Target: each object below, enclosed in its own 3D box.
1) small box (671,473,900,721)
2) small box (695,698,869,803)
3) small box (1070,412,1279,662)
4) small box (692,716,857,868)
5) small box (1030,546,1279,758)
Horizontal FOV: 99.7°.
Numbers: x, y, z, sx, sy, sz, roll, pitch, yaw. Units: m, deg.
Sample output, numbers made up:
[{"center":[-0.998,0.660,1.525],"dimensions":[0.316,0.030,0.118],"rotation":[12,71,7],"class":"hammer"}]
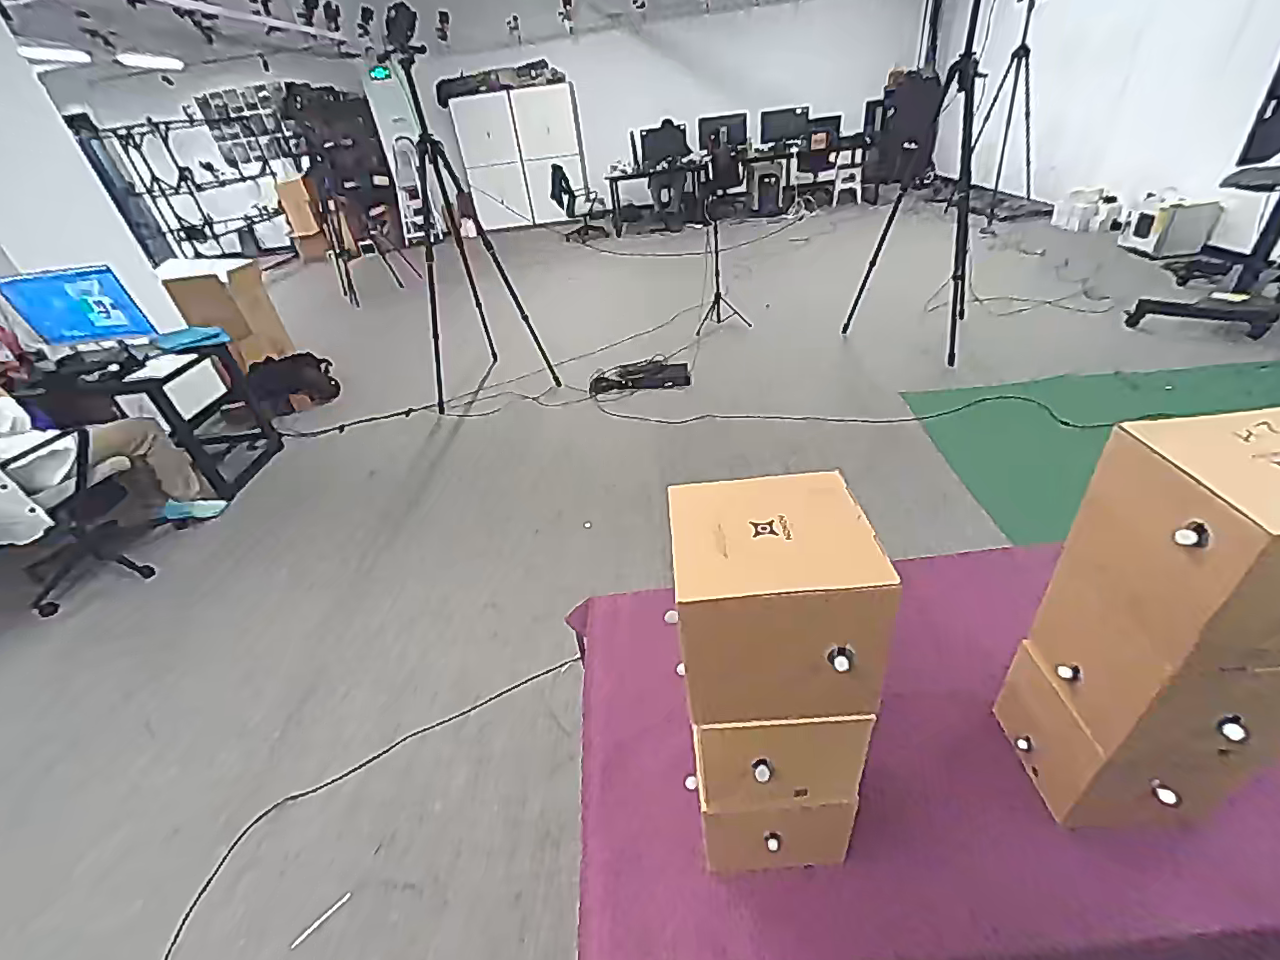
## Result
[{"center":[0.125,0.113,0.528],"dimensions":[0.179,0.176,0.168],"rotation":[-6,33,5],"class":"small box"},{"center":[0.145,0.246,0.619],"dimensions":[0.168,0.176,0.179],"rotation":[-5,34,4],"class":"small box"},{"center":[0.563,0.055,0.511],"dimensions":[0.168,0.176,0.179],"rotation":[-5,34,6],"class":"small box"},{"center":[0.162,0.380,0.709],"dimensions":[0.179,0.176,0.168],"rotation":[-7,34,3],"class":"small box"},{"center":[0.586,0.189,0.606],"dimensions":[0.168,0.176,0.179],"rotation":[-4,36,7],"class":"small box"}]
